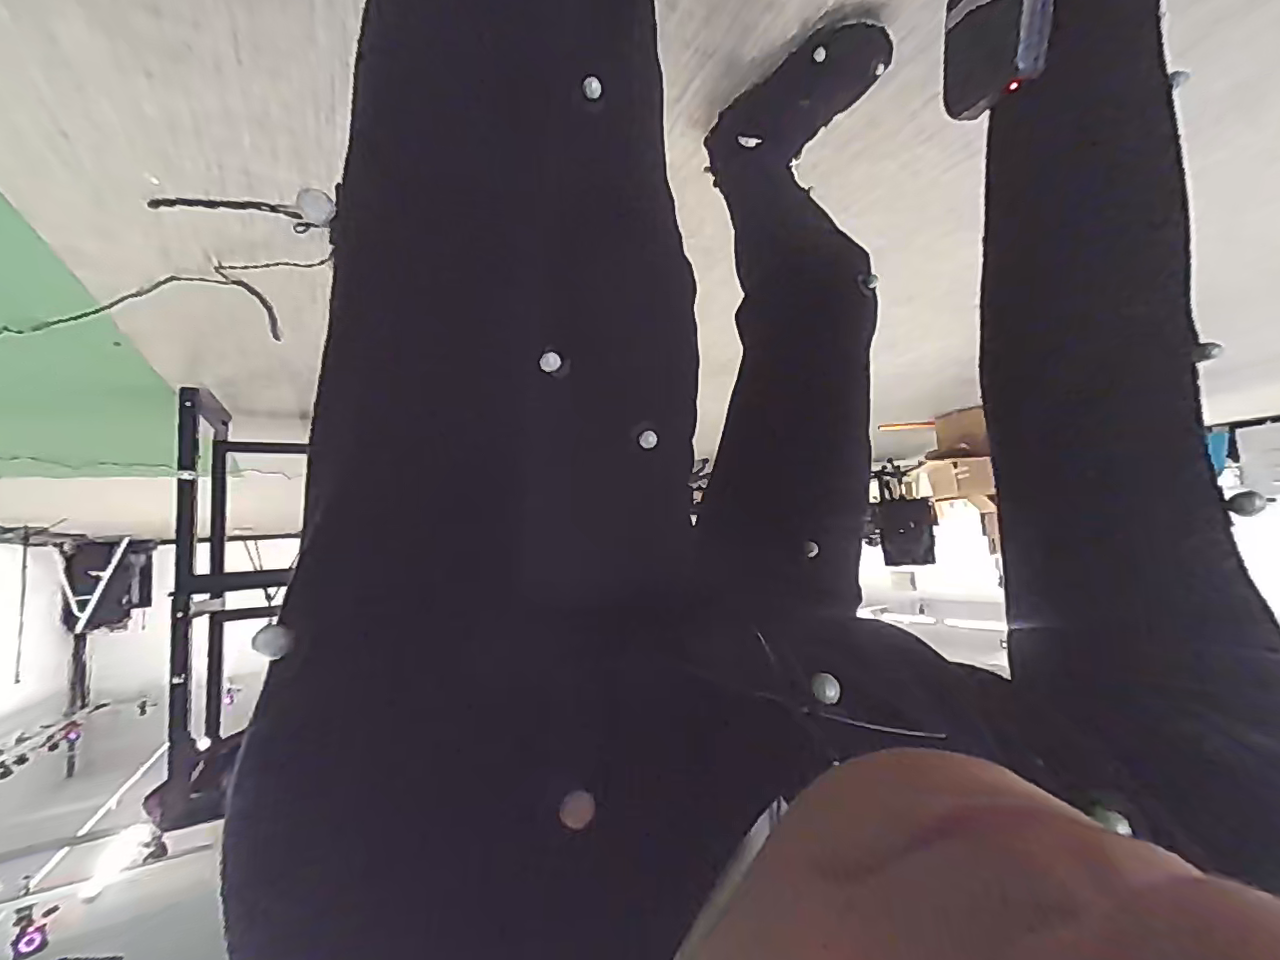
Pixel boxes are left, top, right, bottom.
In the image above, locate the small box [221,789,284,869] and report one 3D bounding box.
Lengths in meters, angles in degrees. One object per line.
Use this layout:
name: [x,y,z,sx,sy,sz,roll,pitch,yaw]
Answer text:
small box: [-1.366,1.220,1.911,0.179,0.176,0.168,0,171,-32]
